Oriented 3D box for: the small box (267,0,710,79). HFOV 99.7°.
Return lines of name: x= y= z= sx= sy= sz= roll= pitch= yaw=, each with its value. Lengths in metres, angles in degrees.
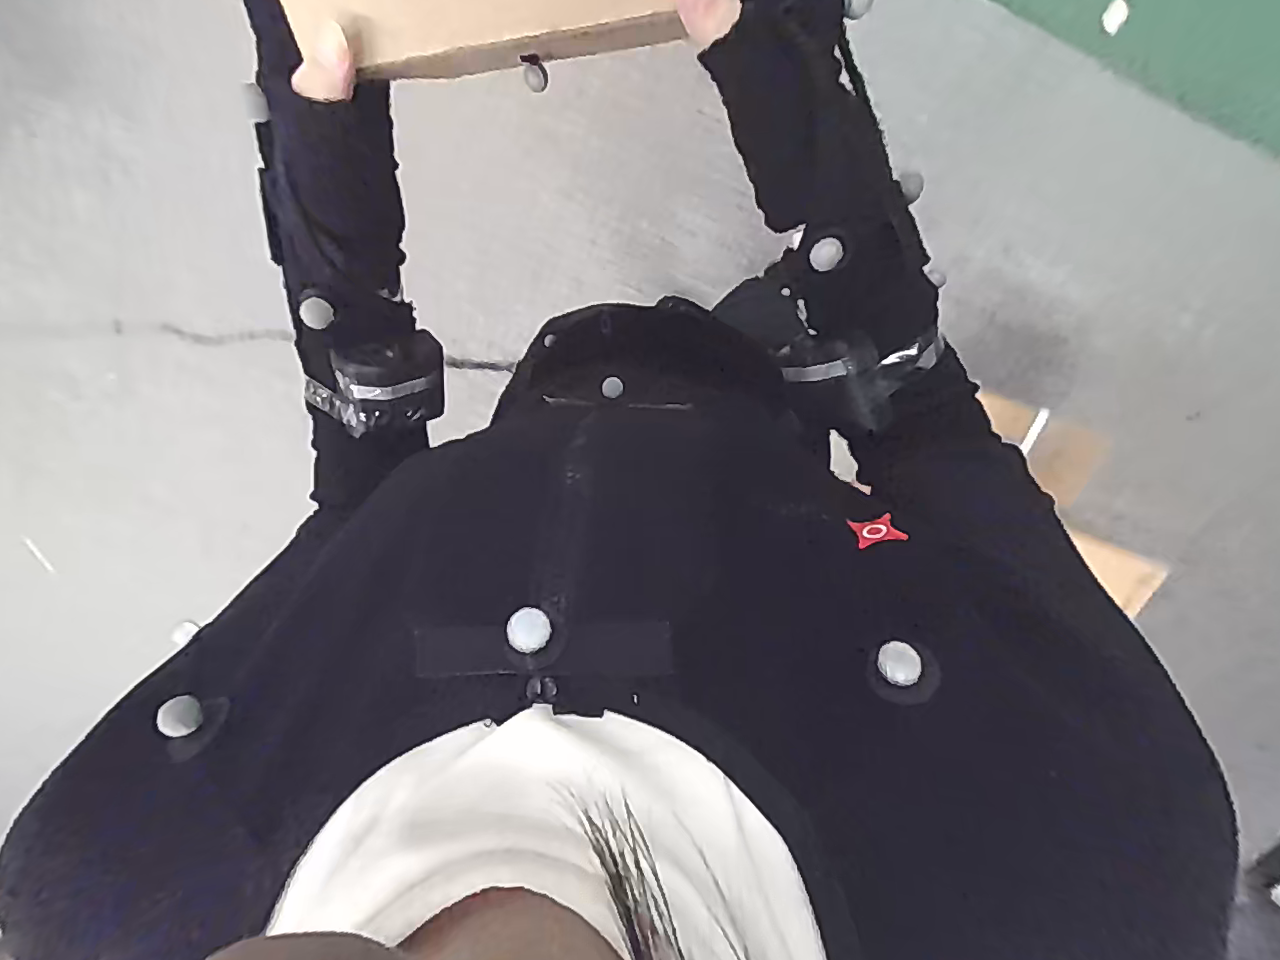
small box: x=-0.064 y=-0.287 z=0.228 sx=0.179 sy=0.176 sz=0.168 roll=-6 pitch=126 yaw=8
